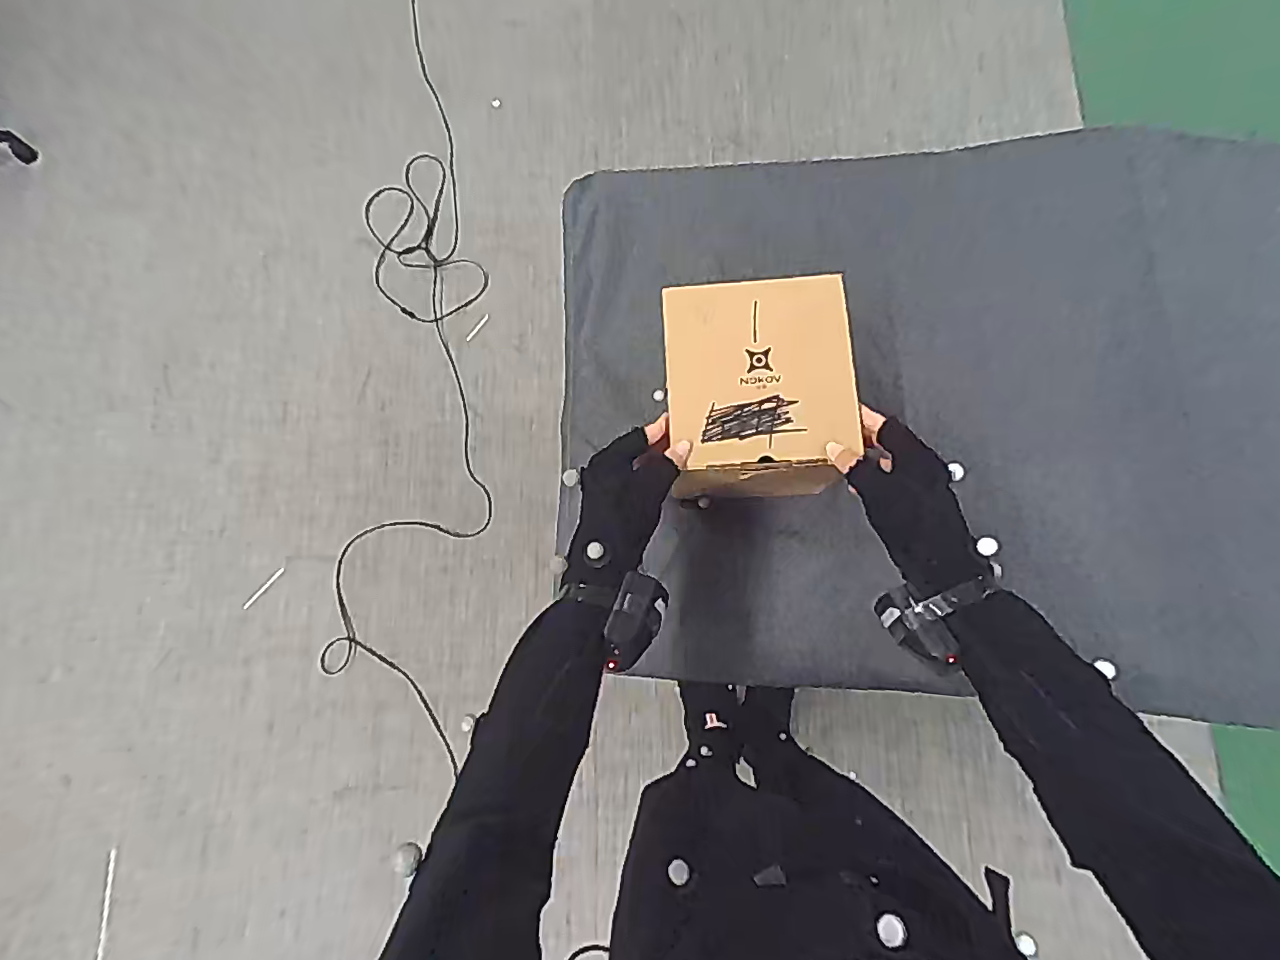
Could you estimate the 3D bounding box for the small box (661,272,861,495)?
[{"bbox_3d":[0.110,-0.082,0.551,0.168,0.176,0.179,-3,78,4],"label":"small box"}]
